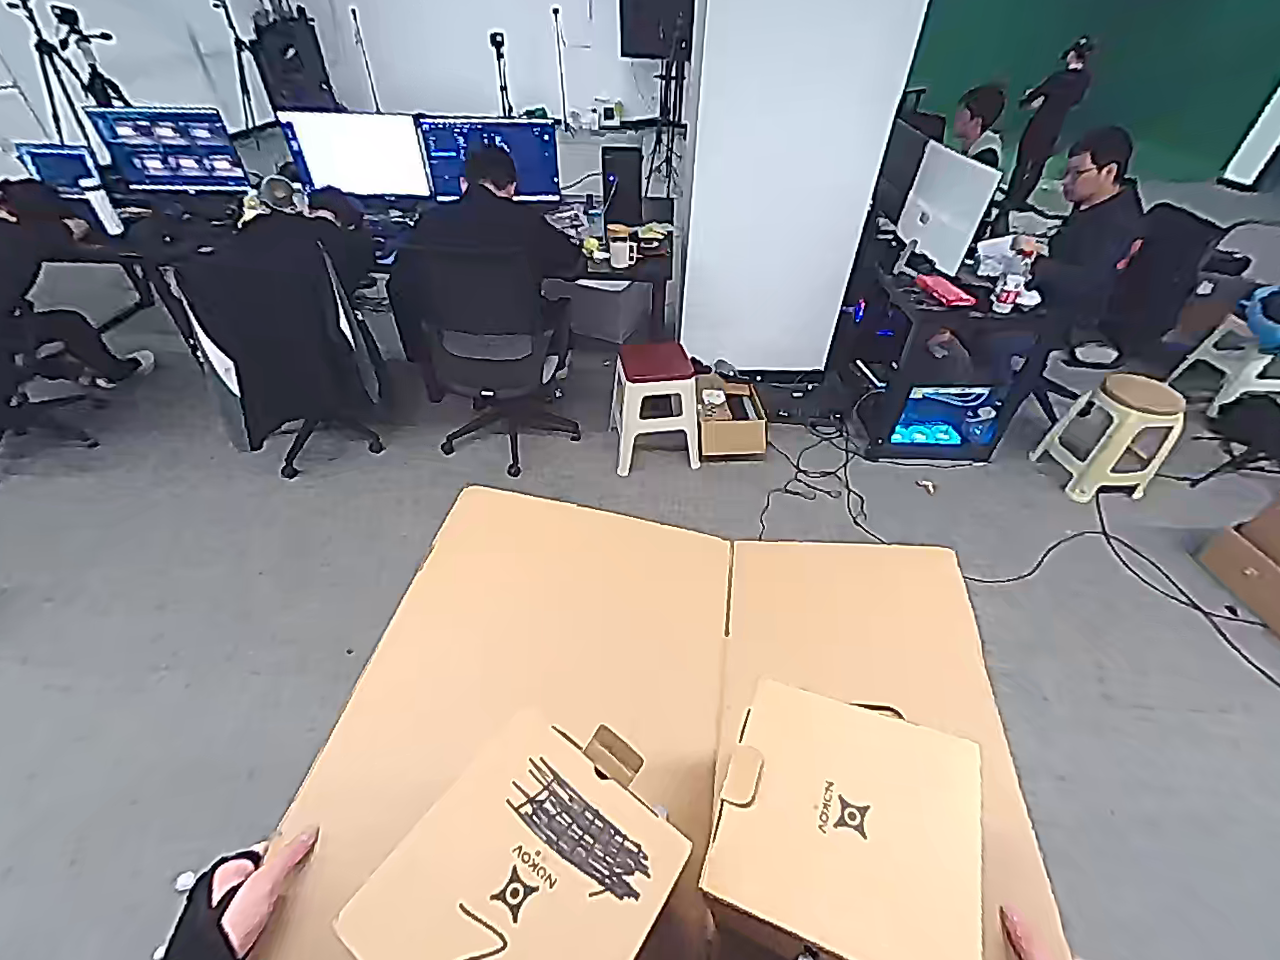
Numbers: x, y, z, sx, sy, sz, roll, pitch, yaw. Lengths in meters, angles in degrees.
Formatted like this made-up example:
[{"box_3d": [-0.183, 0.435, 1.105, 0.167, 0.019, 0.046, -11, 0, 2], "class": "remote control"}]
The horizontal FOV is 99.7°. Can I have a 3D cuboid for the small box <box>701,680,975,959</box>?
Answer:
[{"box_3d": [0.167, 0.306, 0.464, 0.179, 0.176, 0.168, 9, 49, 23], "class": "small box"}]
